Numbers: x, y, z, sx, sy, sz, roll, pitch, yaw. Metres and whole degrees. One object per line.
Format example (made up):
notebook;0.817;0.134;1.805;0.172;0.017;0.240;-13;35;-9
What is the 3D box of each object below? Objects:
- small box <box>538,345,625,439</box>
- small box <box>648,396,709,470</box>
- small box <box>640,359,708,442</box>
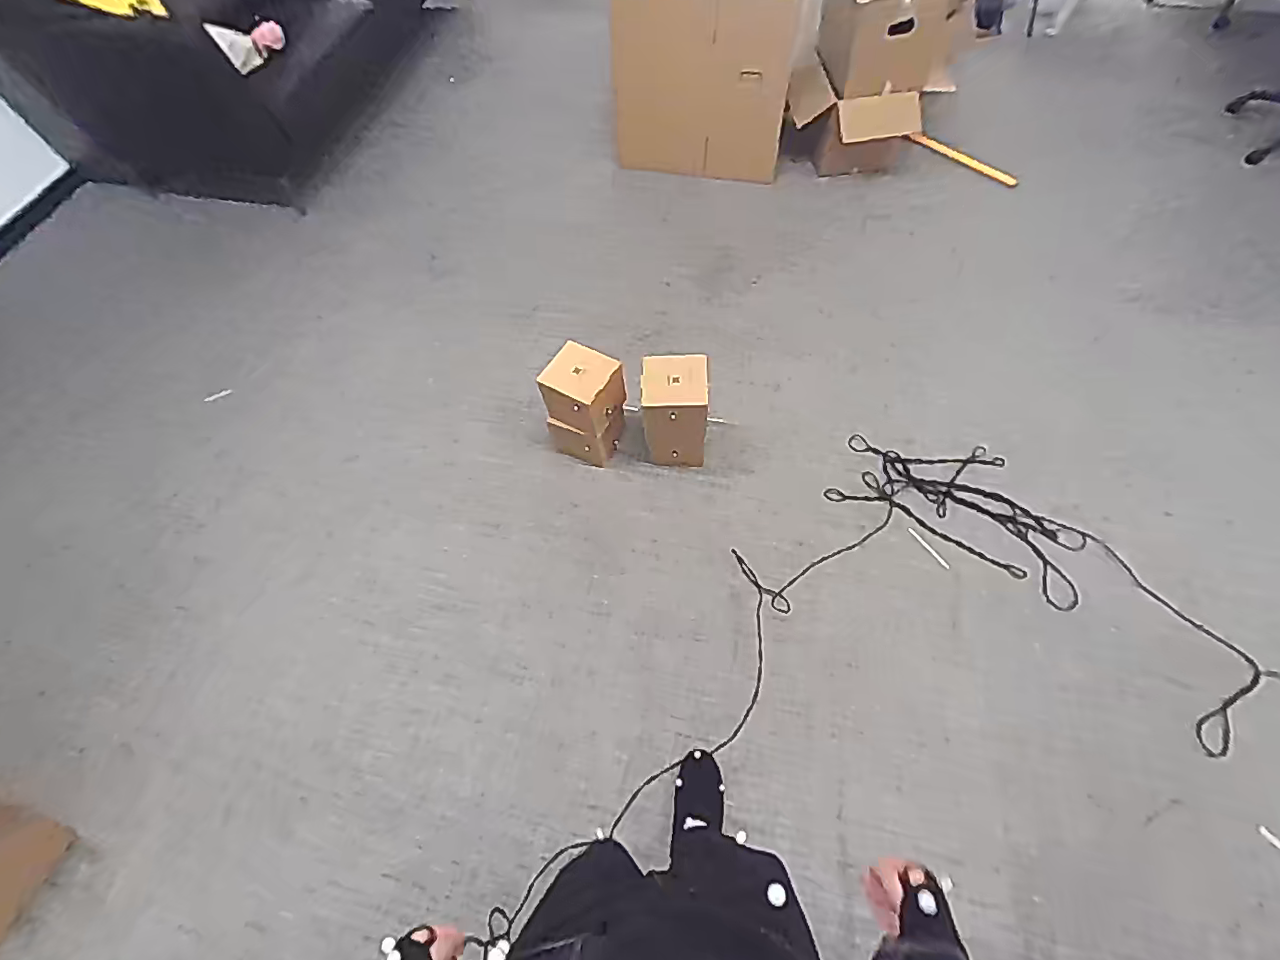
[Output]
small box;-0.159;-0.244;1.536;0.179;0.176;0.168;26;66;17
small box;0.120;-0.146;1.639;0.168;0.176;0.179;4;61;7
small box;0.098;-0.214;1.493;0.179;0.176;0.168;0;62;5
